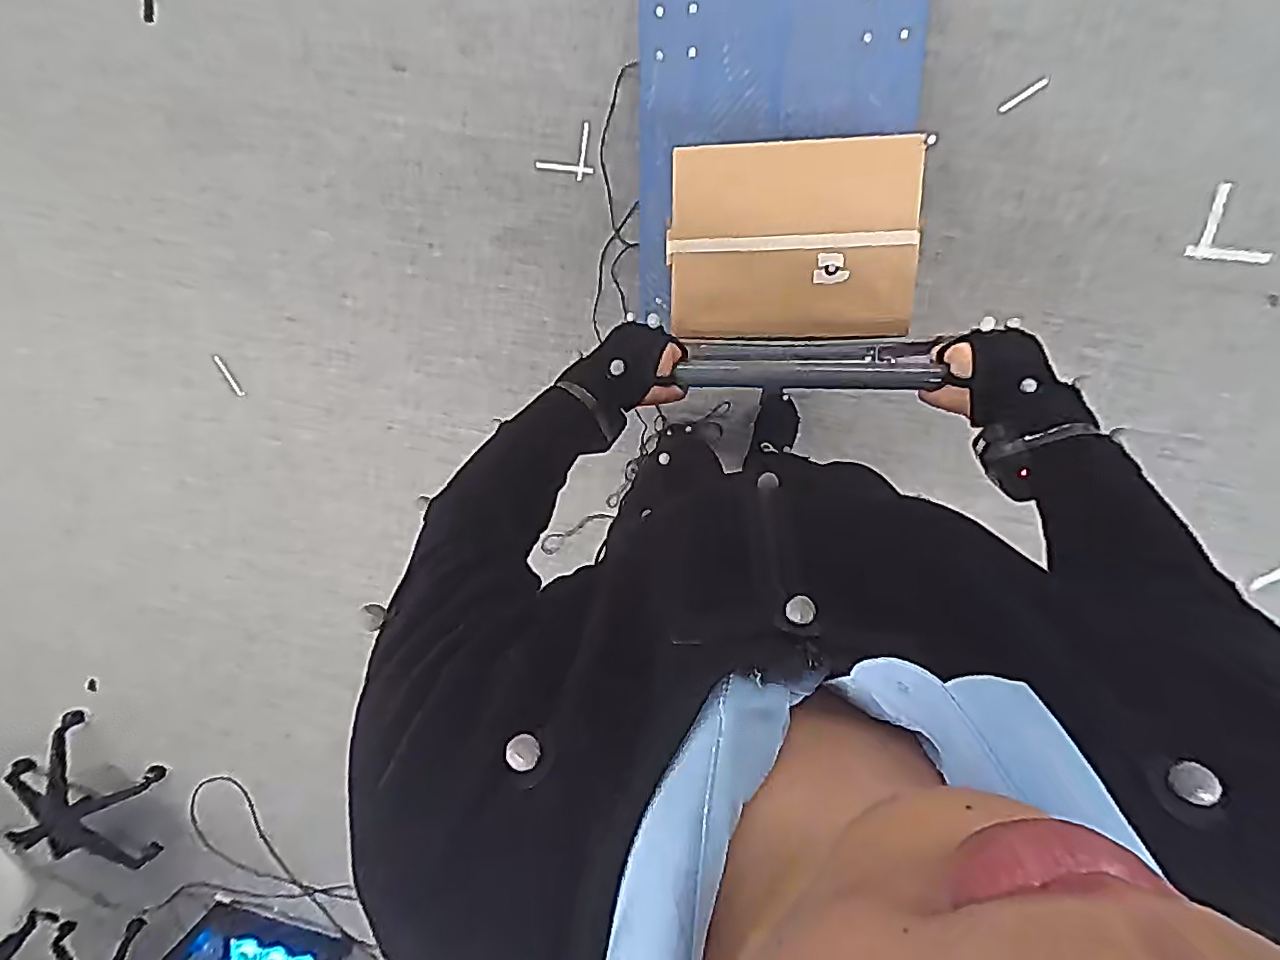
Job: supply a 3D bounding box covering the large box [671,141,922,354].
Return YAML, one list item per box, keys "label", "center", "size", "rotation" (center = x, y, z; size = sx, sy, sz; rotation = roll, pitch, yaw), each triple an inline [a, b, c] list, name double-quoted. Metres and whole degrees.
- label: "large box"
  center: [0.270, -0.415, 1.052]
  size: [0.408, 0.320, 0.320]
  rotation: [1, 102, 7]
